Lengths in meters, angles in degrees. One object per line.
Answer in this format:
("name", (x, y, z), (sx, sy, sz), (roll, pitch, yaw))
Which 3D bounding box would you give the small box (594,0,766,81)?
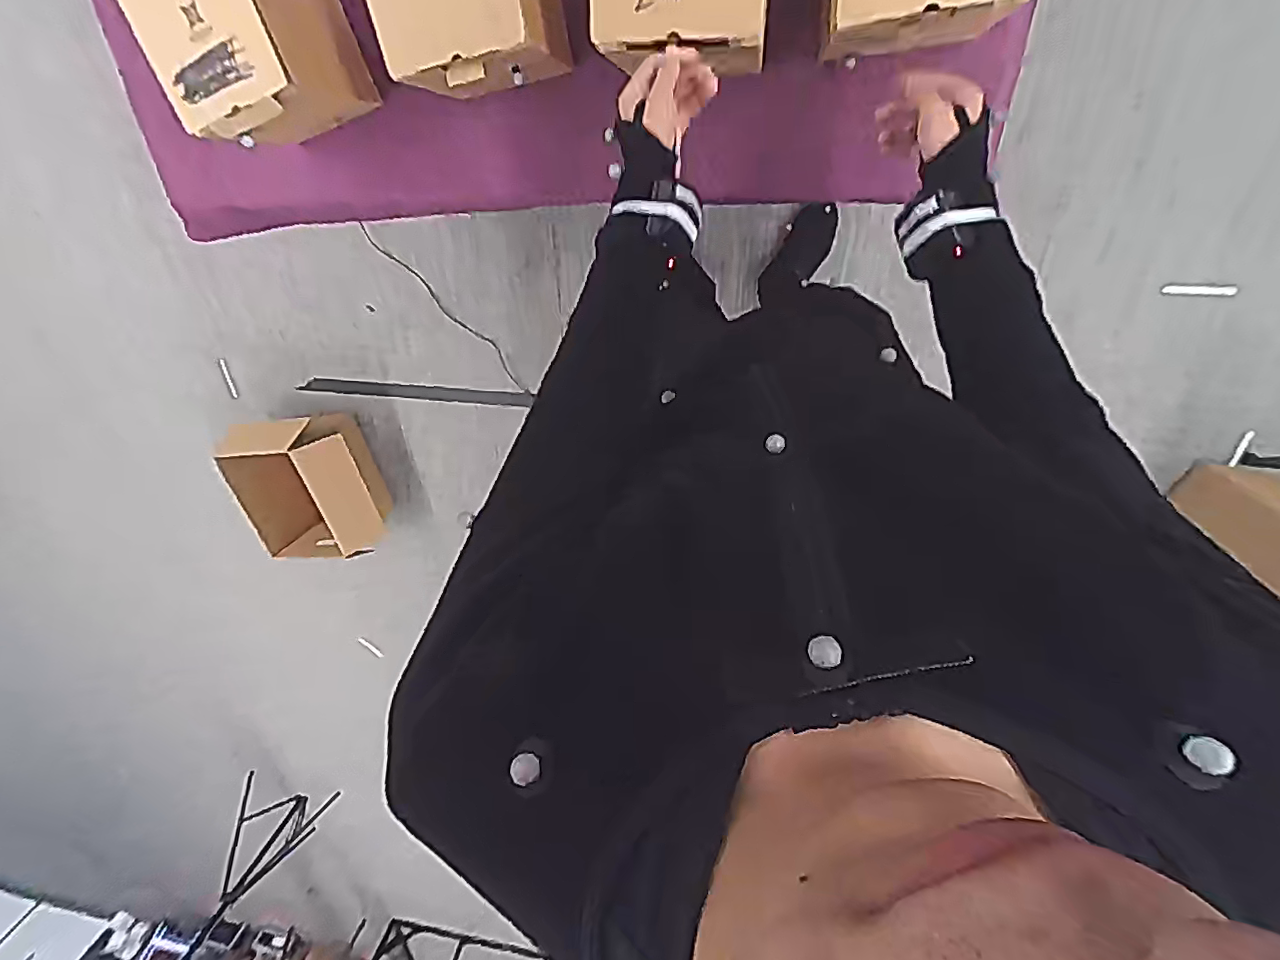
("small box", (0.050, -0.535, 0.559), (0.168, 0.176, 0.179), (5, 120, 9))

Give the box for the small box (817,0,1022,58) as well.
("small box", (0.265, -0.529, 0.516), (0.168, 0.176, 0.179), (0, 118, 12))

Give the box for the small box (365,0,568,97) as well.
("small box", (-0.193, -0.550, 0.605), (0.168, 0.176, 0.179), (-4, 117, 13))
